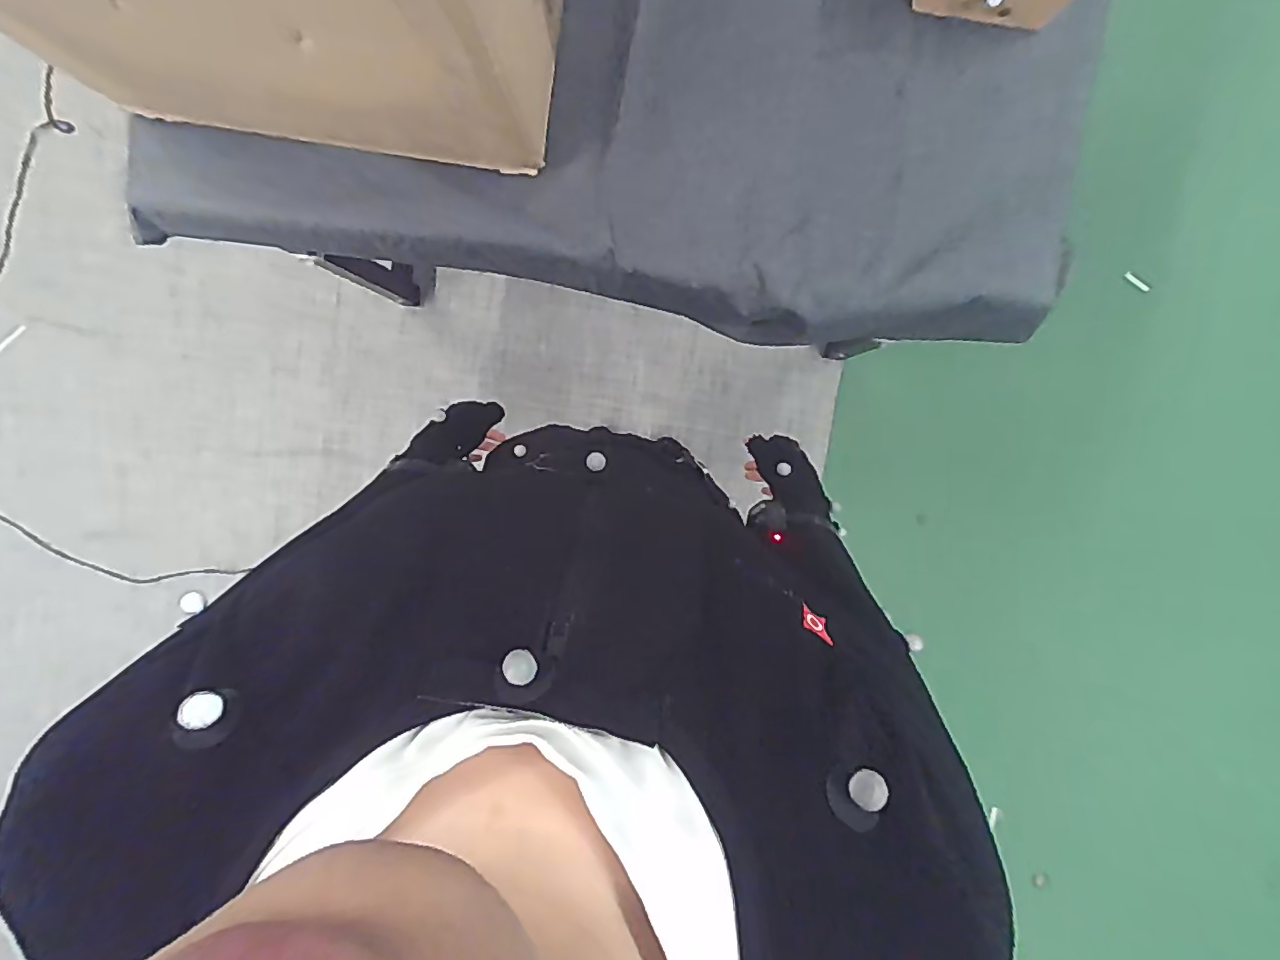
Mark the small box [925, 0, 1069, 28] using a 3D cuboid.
[{"bbox_3d":[0.429,-0.644,0.575,0.168,0.176,0.179,10,97,1],"label":"small box"}]
